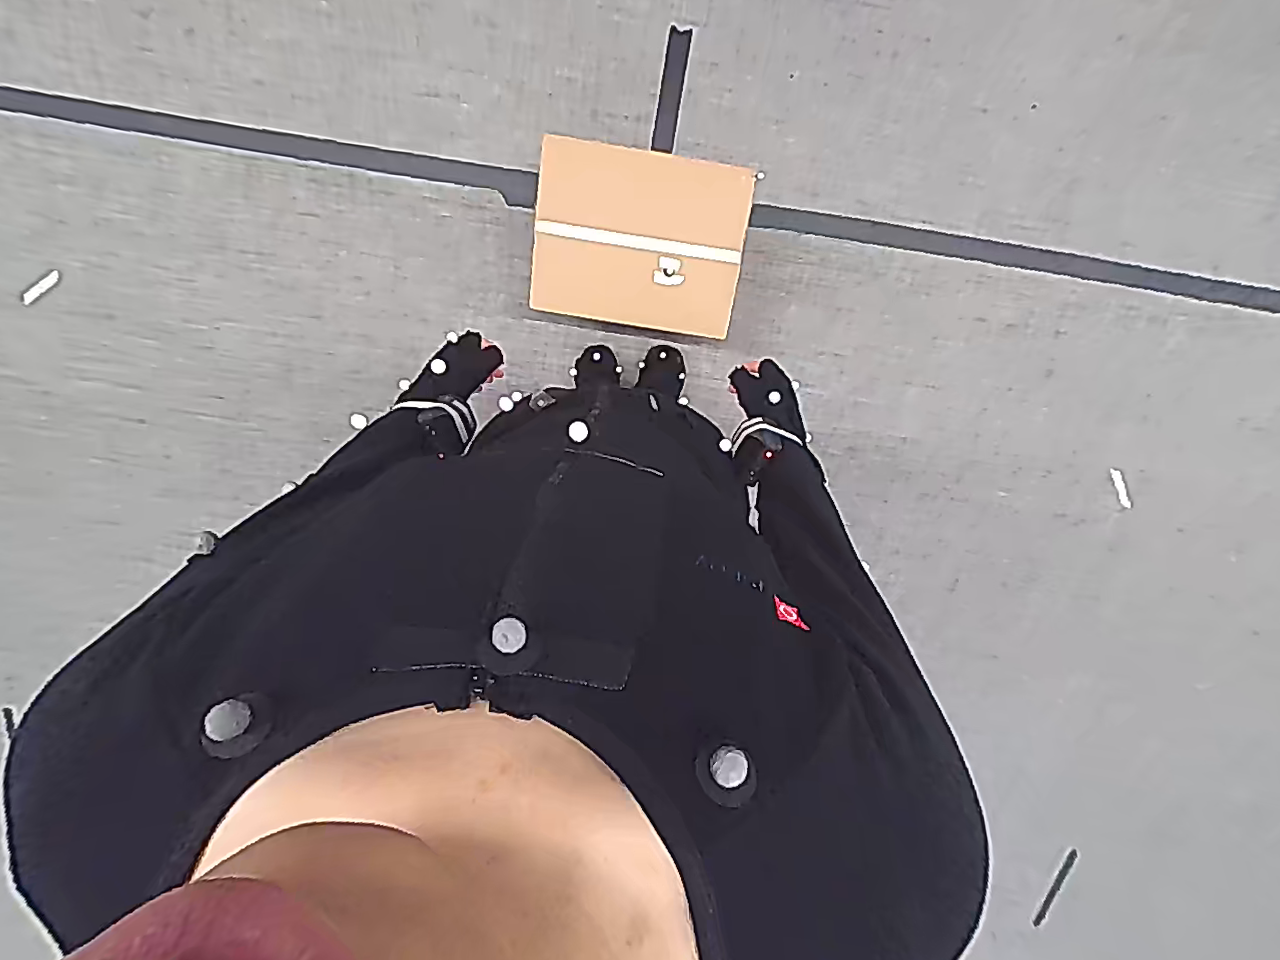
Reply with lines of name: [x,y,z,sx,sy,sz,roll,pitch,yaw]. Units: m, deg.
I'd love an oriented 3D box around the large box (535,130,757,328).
large box: [0.001,-0.522,1.185,0.408,0.320,0.320,8,109,-3]
